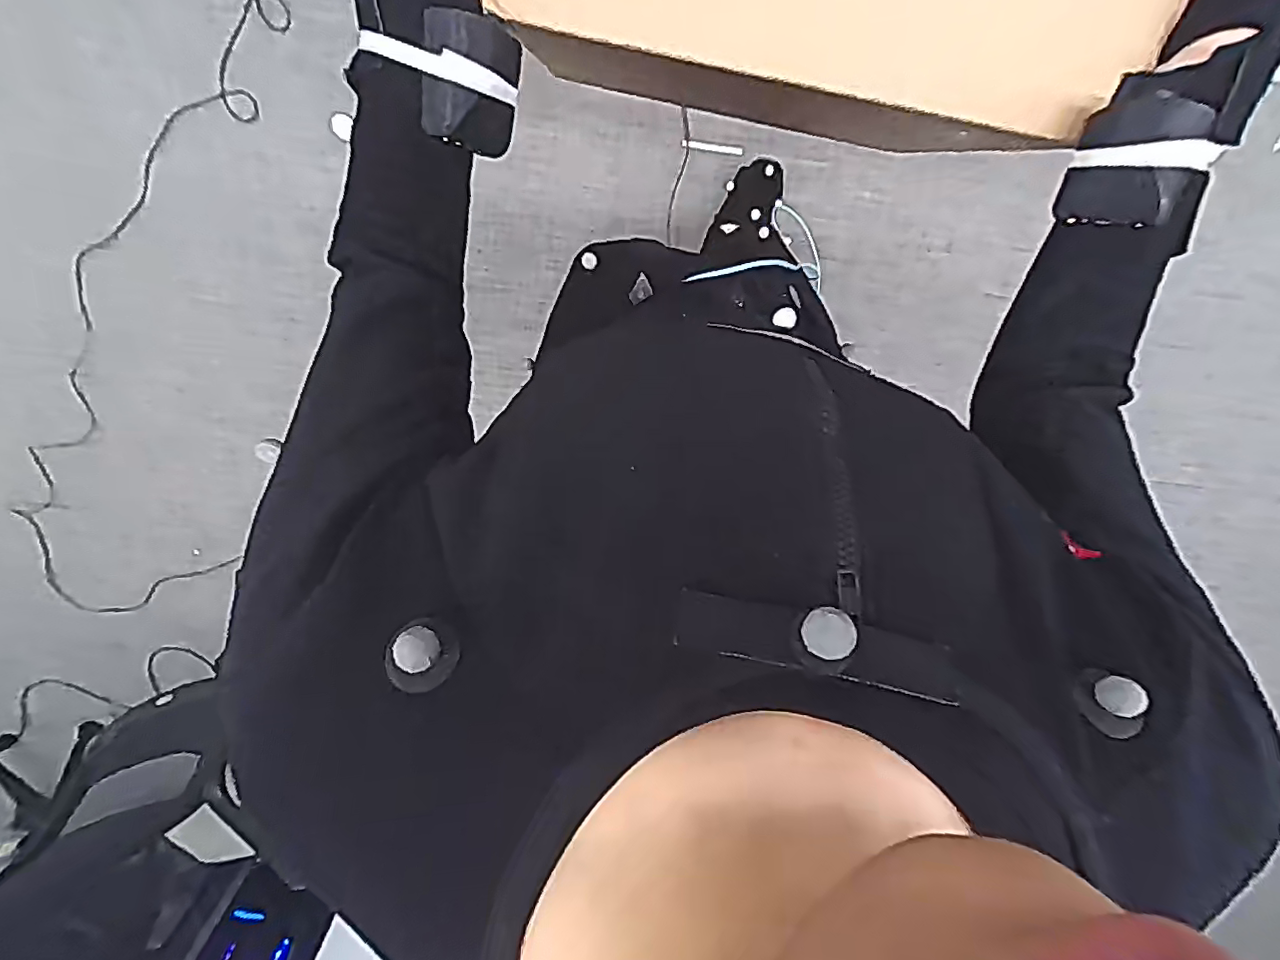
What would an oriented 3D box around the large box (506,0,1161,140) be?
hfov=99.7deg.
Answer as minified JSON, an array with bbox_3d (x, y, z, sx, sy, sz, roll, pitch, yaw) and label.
[{"bbox_3d":[0.130,-0.464,0.394,0.408,0.320,0.320,8,121,-6],"label":"large box"}]
